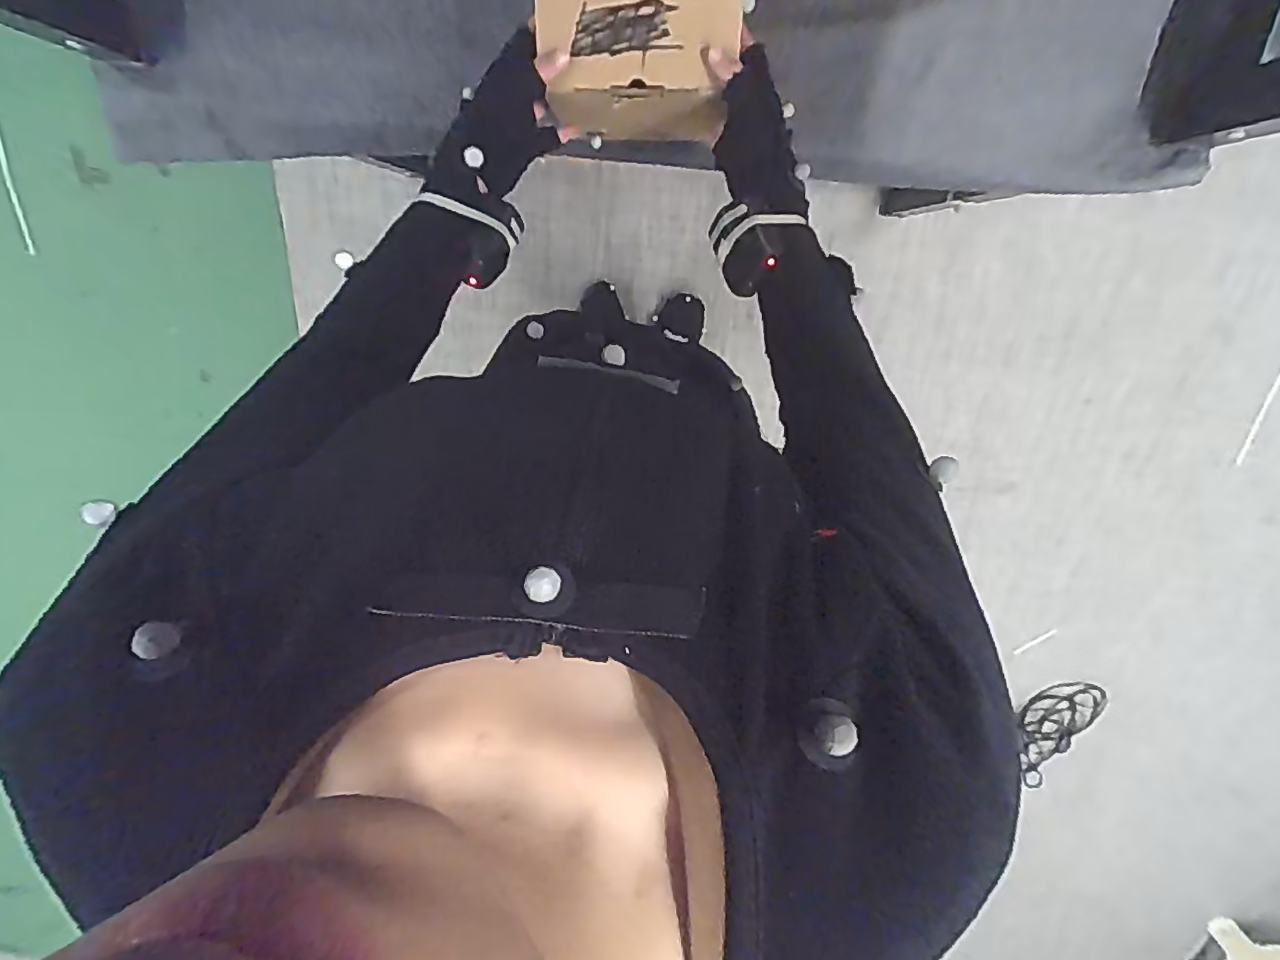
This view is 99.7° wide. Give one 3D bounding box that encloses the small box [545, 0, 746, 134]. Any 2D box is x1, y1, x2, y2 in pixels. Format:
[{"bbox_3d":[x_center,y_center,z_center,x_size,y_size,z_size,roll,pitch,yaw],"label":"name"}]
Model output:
[{"bbox_3d":[0.010,-0.440,0.501,0.168,0.176,0.179,2,109,2],"label":"small box"}]
